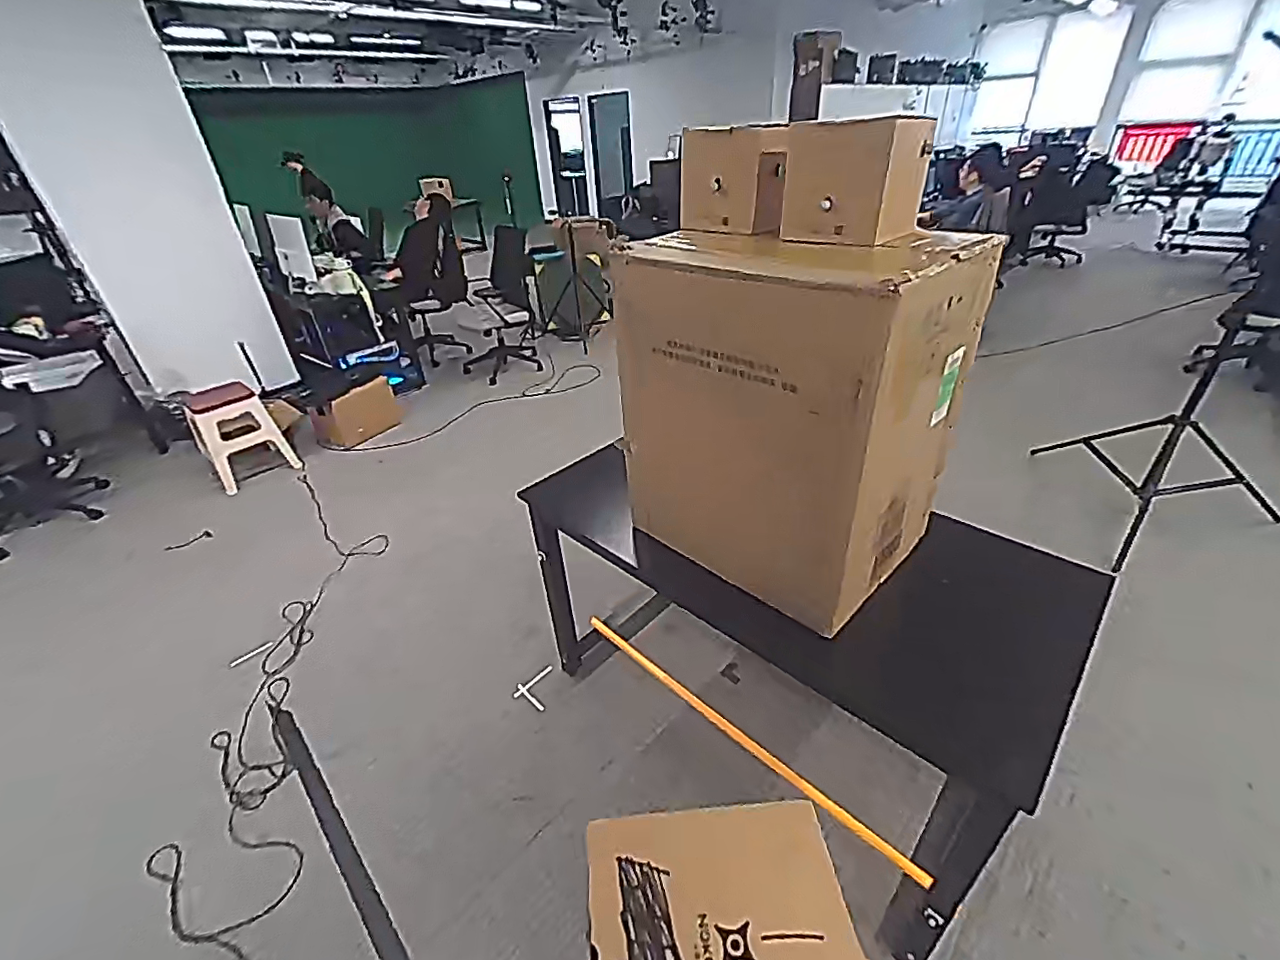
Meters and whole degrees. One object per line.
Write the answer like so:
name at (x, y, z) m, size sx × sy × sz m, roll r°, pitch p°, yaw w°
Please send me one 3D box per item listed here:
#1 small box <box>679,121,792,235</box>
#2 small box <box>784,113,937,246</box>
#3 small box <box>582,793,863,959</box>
small box at (0.191, -0.567, 1.018) m, size 0.168 × 0.176 × 0.179 m, roll 23°, pitch 41°, yaw 34°
small box at (0.348, -0.486, 0.876) m, size 0.168 × 0.176 × 0.179 m, roll 23°, pitch 40°, yaw 36°
small box at (0.053, 0.357, 0.388) m, size 0.179 × 0.176 × 0.168 m, roll -4°, pitch 34°, yaw -3°
